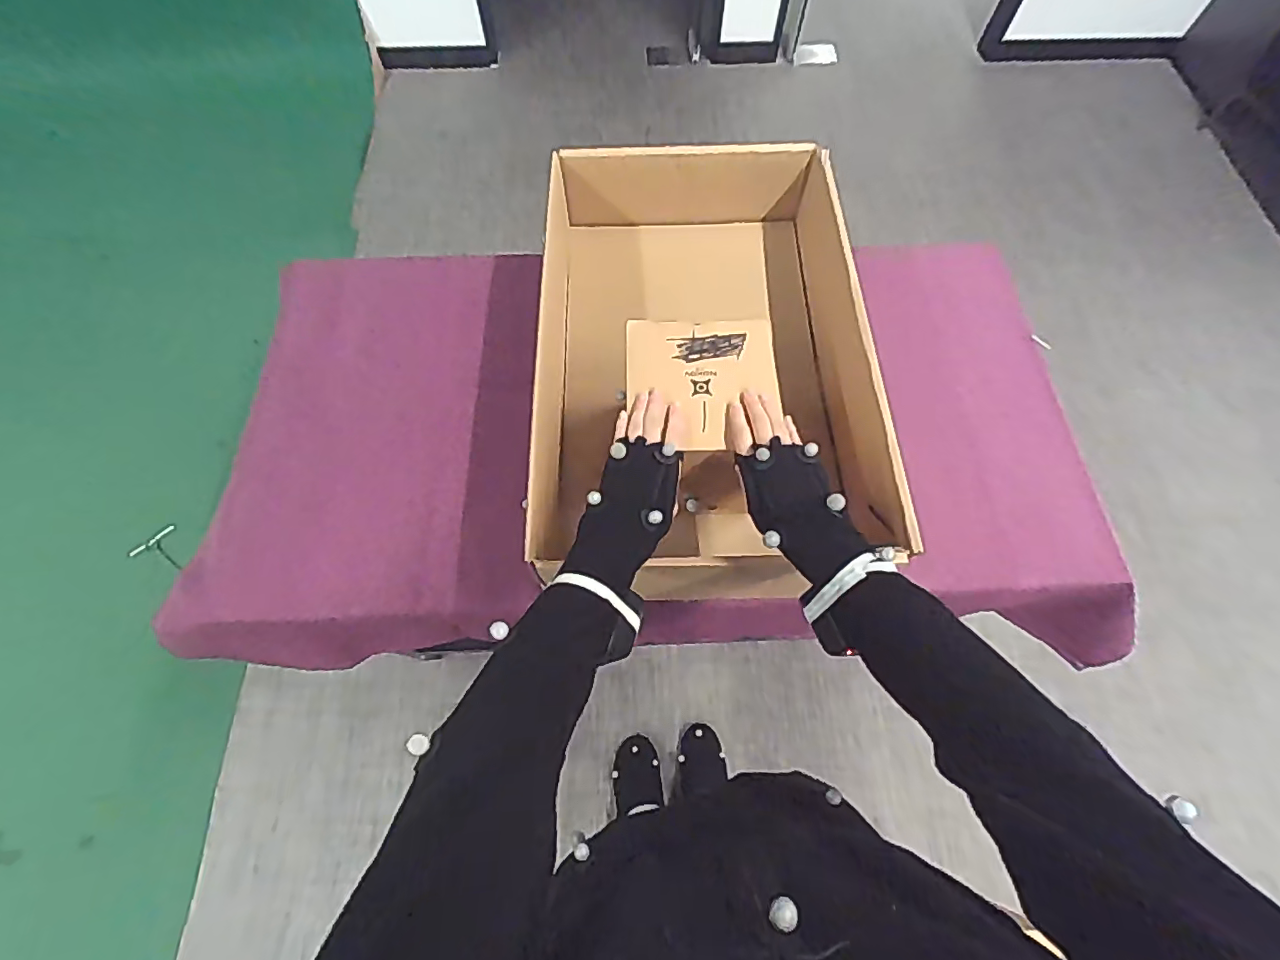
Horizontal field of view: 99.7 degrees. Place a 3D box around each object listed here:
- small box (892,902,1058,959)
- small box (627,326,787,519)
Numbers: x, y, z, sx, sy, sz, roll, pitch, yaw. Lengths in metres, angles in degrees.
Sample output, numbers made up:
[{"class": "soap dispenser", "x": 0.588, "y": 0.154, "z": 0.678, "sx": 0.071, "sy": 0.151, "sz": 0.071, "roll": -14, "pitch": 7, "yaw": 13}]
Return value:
[{"class": "small box", "x": 0.495, "y": 0.746, "z": 0.795, "sx": 0.168, "sy": 0.176, "sz": 0.179, "roll": -1, "pitch": 65, "yaw": 0}, {"class": "small box", "x": 0.067, "y": -0.065, "z": 0.657, "sx": 0.168, "sy": 0.176, "sz": 0.179, "roll": -1, "pitch": 64, "yaw": 0}]
